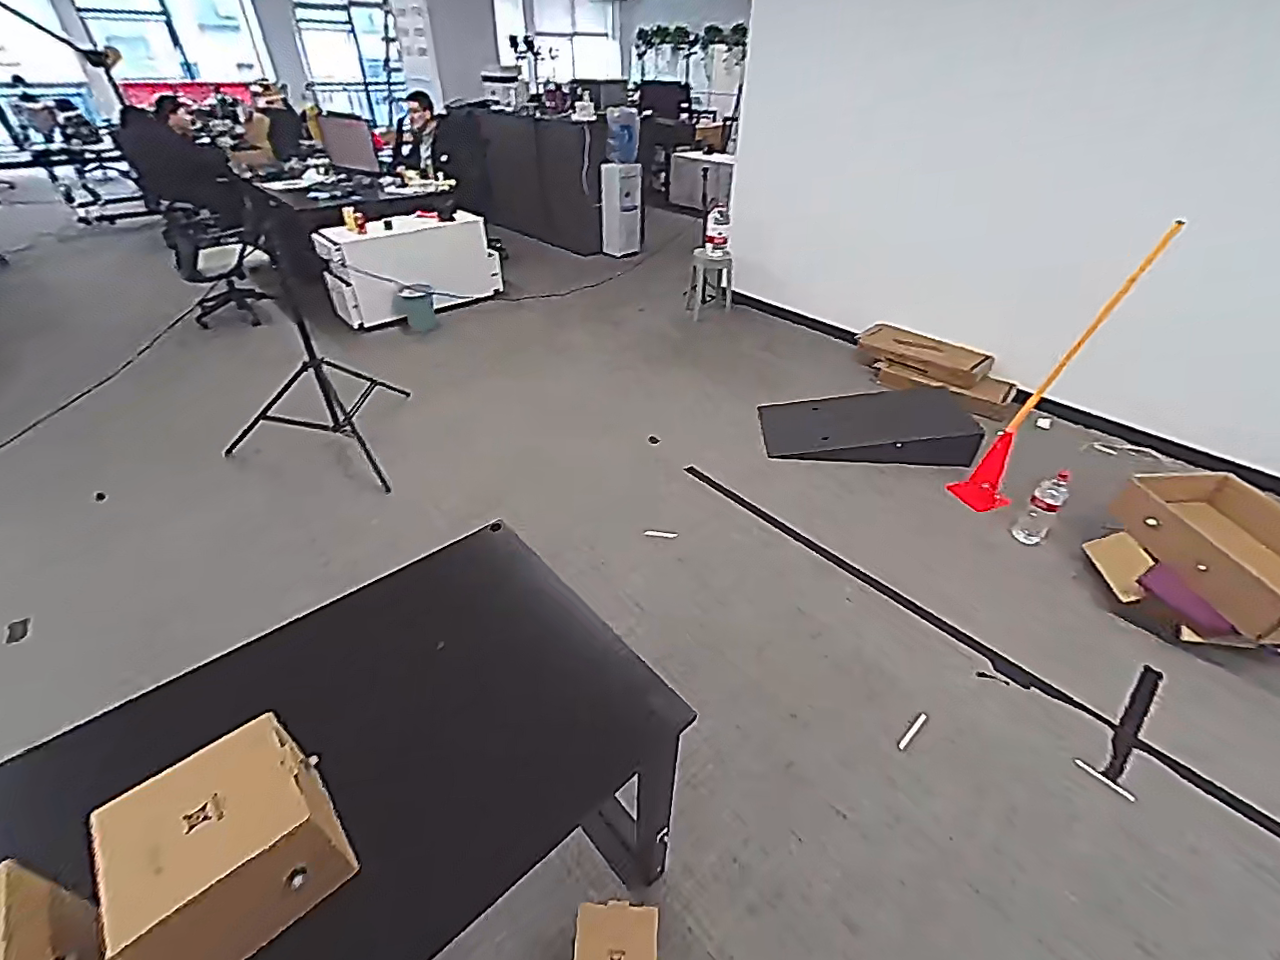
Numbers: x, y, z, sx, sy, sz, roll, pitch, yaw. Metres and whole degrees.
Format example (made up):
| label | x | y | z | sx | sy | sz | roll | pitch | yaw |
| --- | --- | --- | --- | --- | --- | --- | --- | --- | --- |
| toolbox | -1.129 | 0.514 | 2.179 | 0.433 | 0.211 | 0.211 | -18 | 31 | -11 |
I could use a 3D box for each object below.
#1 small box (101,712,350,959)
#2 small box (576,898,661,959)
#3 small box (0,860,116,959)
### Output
| label | x | y | z | sx | sy | sz | roll | pitch | yaw |
| --- | --- | --- | --- | --- | --- | --- | --- | --- | --- |
| small box | -0.465 | 0.422 | 0.631 | 0.179 | 0.176 | 0.168 | -29 | 46 | -32 |
| small box | -0.045 | 0.987 | 1.098 | 0.168 | 0.176 | 0.179 | 2 | 38 | 1 |
| small box | -0.633 | 0.517 | 0.501 | 0.168 | 0.176 | 0.179 | -28 | 47 | -32 |
